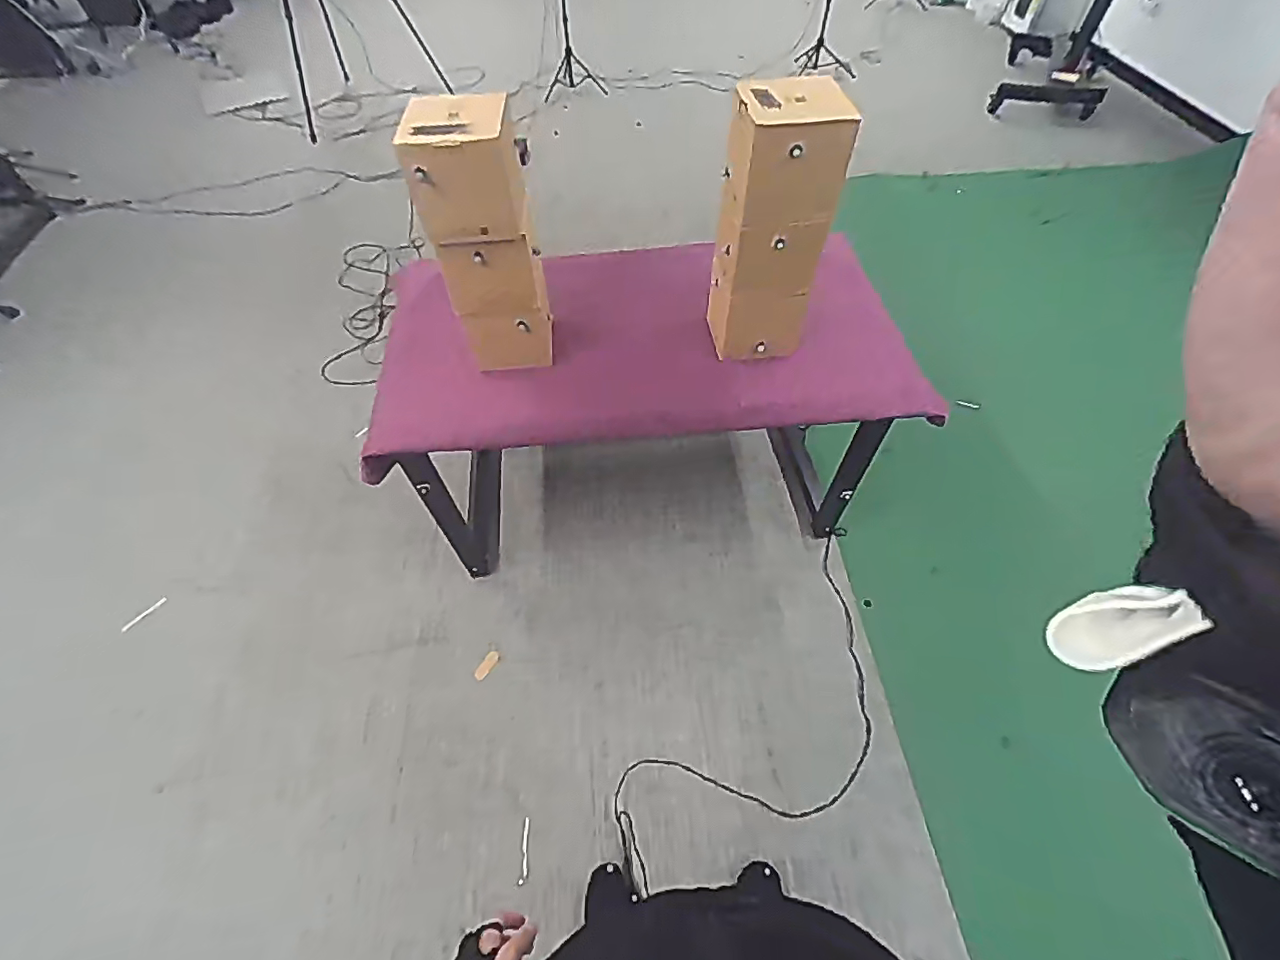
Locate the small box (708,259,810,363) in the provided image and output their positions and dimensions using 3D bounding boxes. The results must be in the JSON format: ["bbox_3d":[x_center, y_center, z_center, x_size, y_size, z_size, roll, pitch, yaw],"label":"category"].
[{"bbox_3d":[0.261,-0.387,1.227,0.179,0.176,0.168,-6,55,-3],"label":"small box"}]

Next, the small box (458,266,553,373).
[{"bbox_3d":[-0.293,-0.360,1.221,0.179,0.176,0.168,-5,55,-3],"label":"small box"}]

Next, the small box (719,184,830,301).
[{"bbox_3d":[0.258,-0.481,1.093,0.179,0.176,0.168,-5,56,-2],"label":"small box"}]

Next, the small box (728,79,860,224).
[{"bbox_3d":[0.258,-0.576,0.959,0.179,0.176,0.168,-6,57,-3],"label":"small box"}]

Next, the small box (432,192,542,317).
[{"bbox_3d":[-0.295,-0.449,1.086,0.179,0.176,0.168,-5,56,-2],"label":"small box"}]
